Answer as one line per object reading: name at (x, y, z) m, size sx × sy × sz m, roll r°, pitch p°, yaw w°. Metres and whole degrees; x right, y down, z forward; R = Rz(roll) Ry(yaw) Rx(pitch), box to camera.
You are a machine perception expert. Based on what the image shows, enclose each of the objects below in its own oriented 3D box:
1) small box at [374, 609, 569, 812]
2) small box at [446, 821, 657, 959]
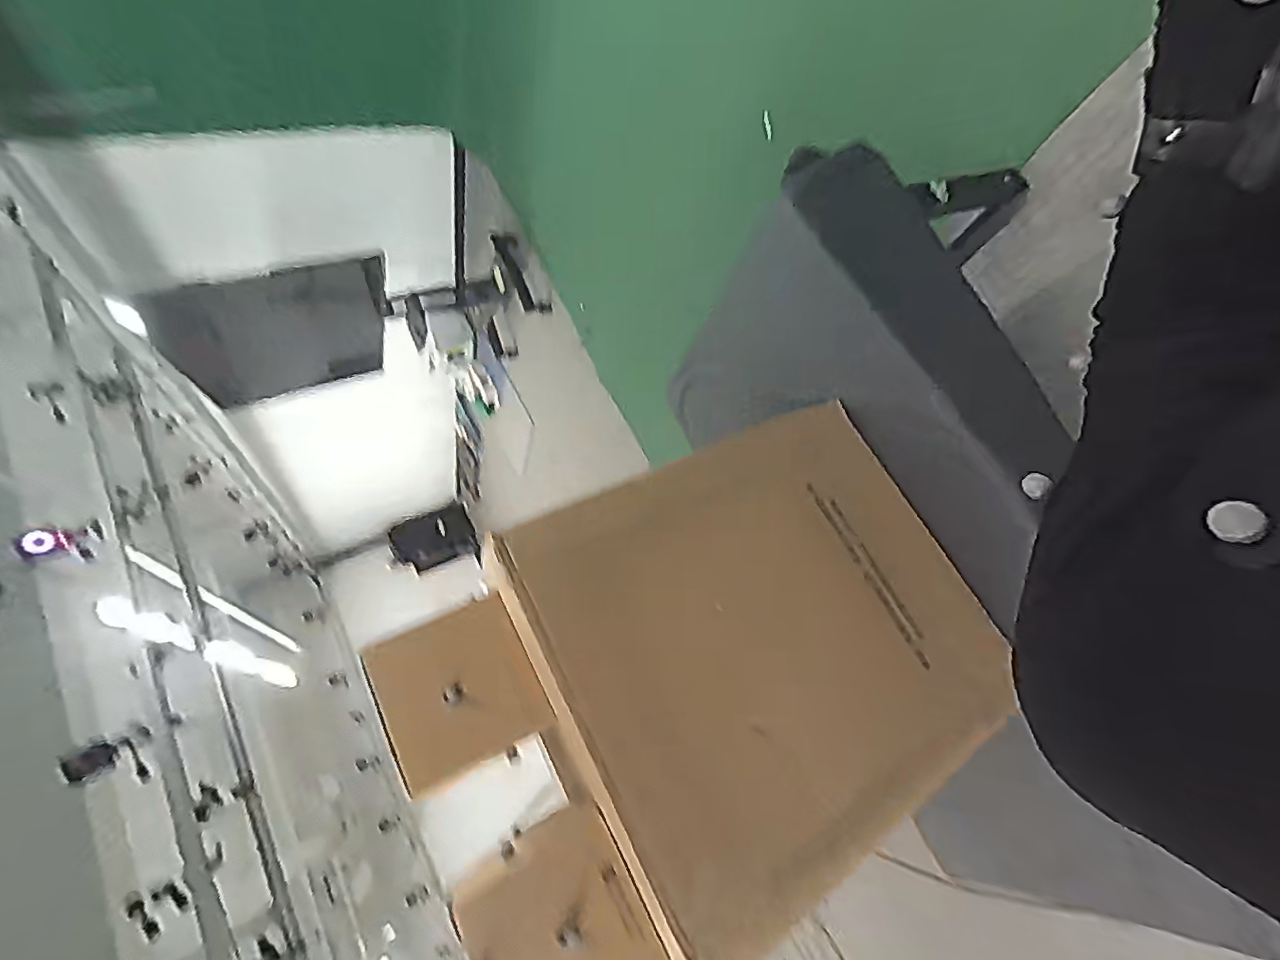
small box at (-0.211, 0.281, 0.679) m, size 0.179 × 0.176 × 0.168 m, roll 58°, pitch 150°, yaw 19°
small box at (-0.095, 0.503, 0.588) m, size 0.168 × 0.176 × 0.179 m, roll 59°, pitch 149°, yaw 18°
